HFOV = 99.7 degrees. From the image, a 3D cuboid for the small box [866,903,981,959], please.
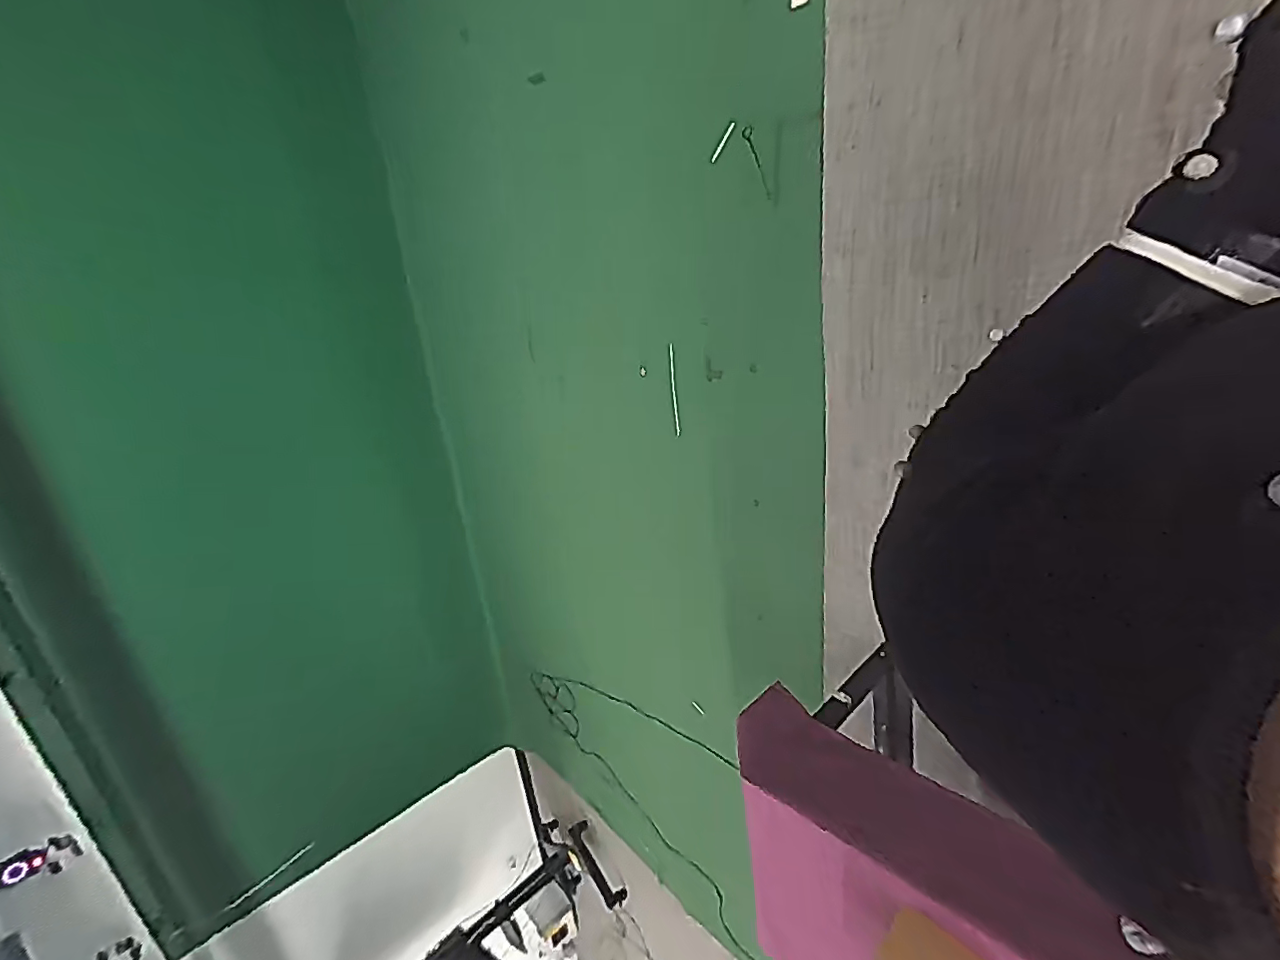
[{"bbox_3d":[0.515,0.932,0.975,0.179,0.176,0.168,13,117,47],"label":"small box"}]
